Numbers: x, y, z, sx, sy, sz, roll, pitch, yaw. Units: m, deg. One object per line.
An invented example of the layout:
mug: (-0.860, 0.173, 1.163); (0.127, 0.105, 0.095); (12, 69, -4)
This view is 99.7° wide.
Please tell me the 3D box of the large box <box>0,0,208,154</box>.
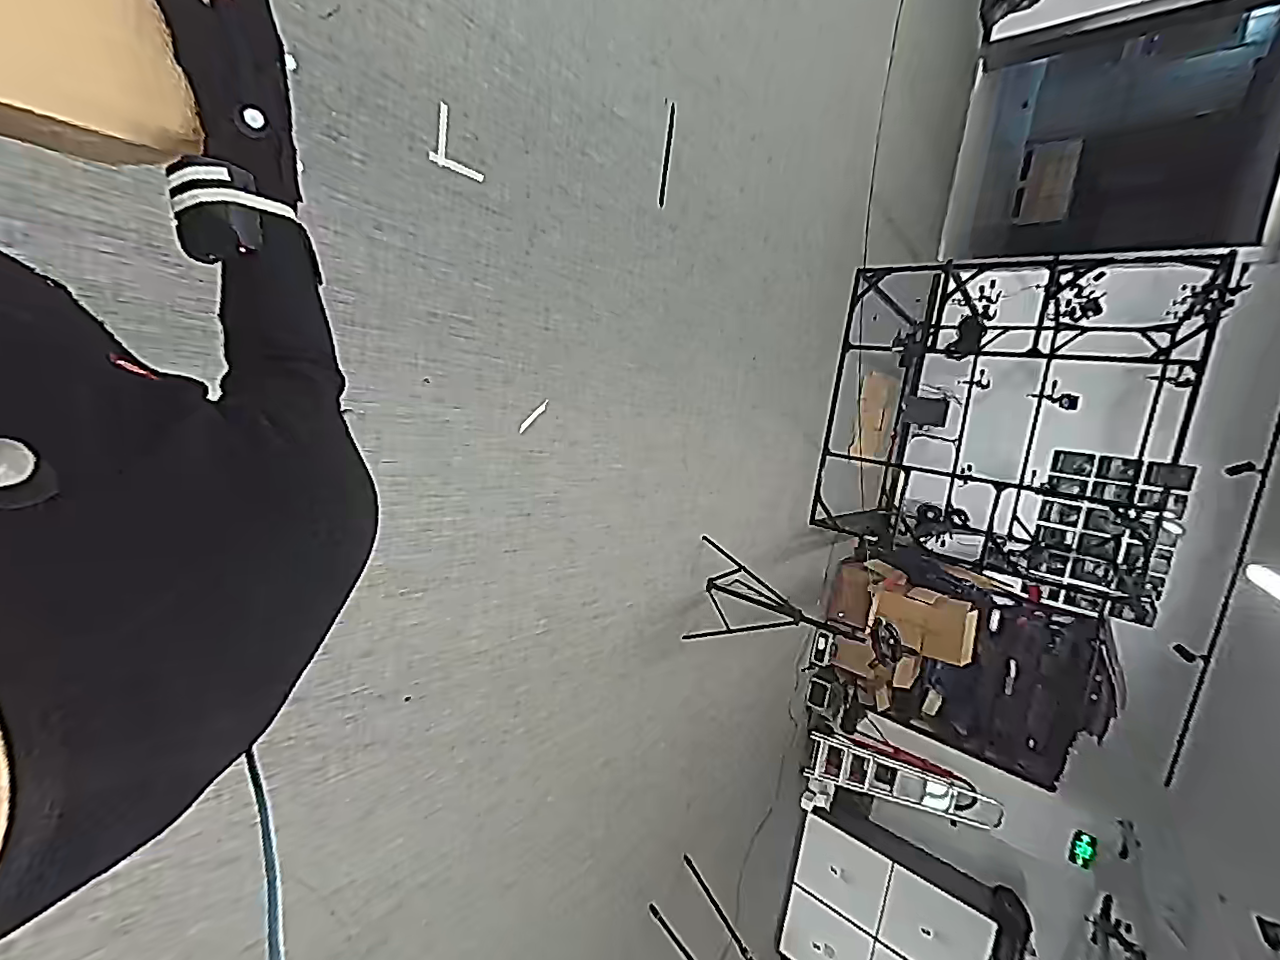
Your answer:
large box: (-0.556, -0.436, 0.320); (0.408, 0.320, 0.320); (-8, 116, -53)
